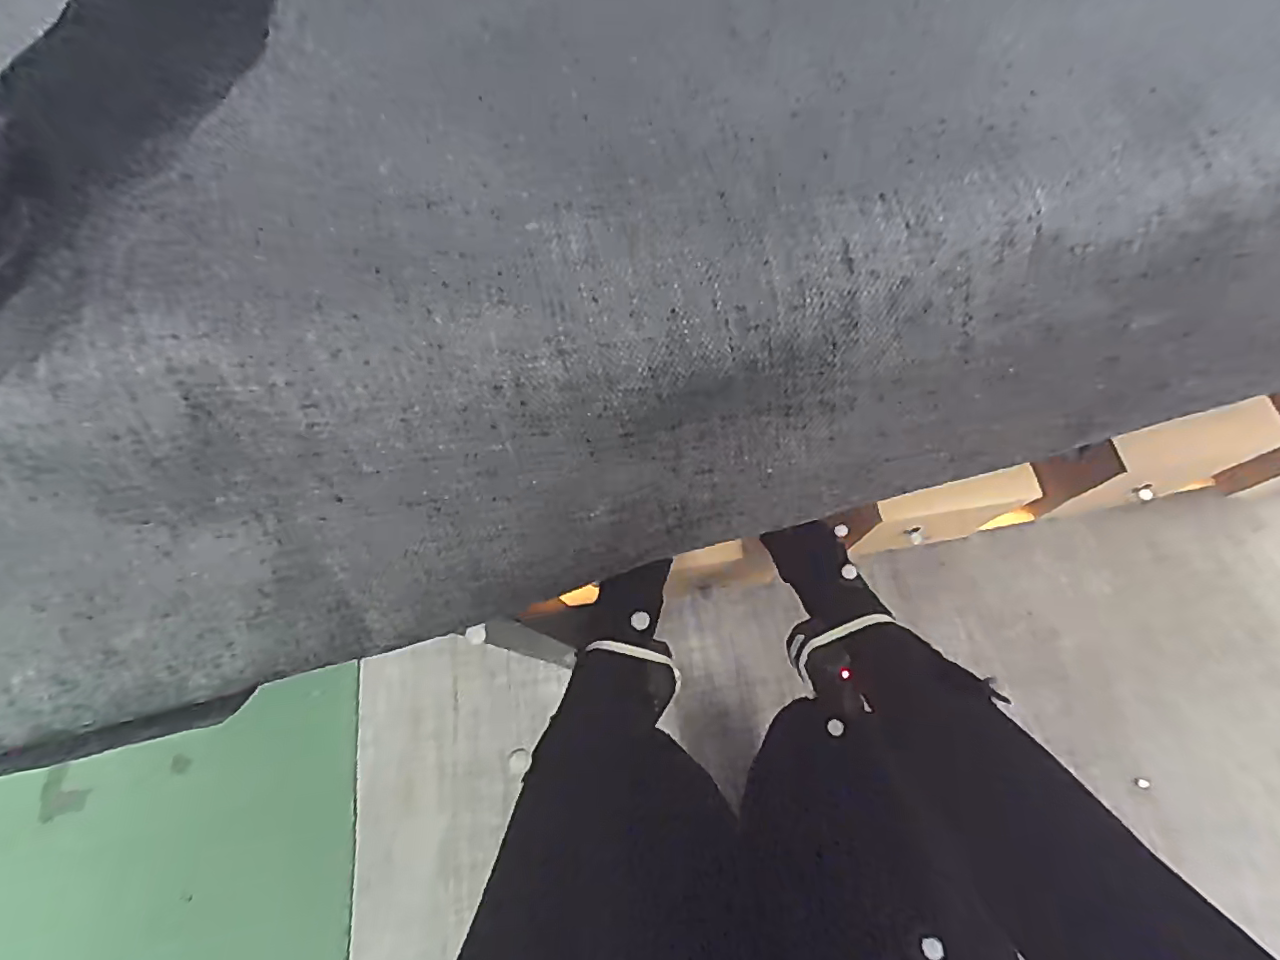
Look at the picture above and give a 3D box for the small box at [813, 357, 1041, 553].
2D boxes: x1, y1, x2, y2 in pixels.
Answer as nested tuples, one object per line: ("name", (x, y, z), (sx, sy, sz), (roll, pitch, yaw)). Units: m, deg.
("small box", (0.324, -0.018, 0.654), (0.168, 0.176, 0.179), (-10, 68, 2))
